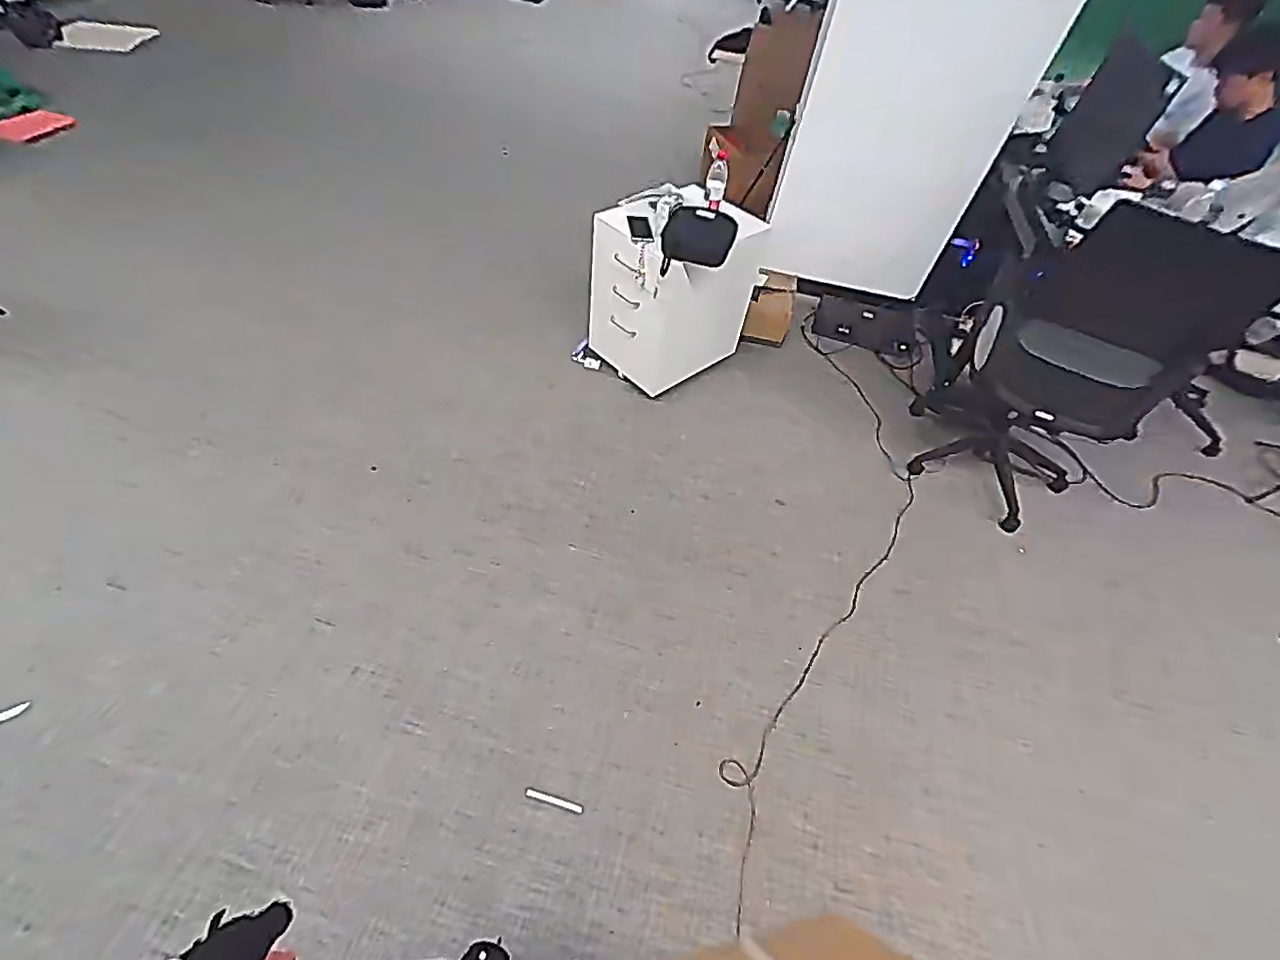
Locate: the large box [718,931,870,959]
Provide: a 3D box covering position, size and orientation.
[{"bbox_3d":[0.213,0.800,0.621,0.320,0.408,0.320,-8,64,-13],"label":"large box"}]
